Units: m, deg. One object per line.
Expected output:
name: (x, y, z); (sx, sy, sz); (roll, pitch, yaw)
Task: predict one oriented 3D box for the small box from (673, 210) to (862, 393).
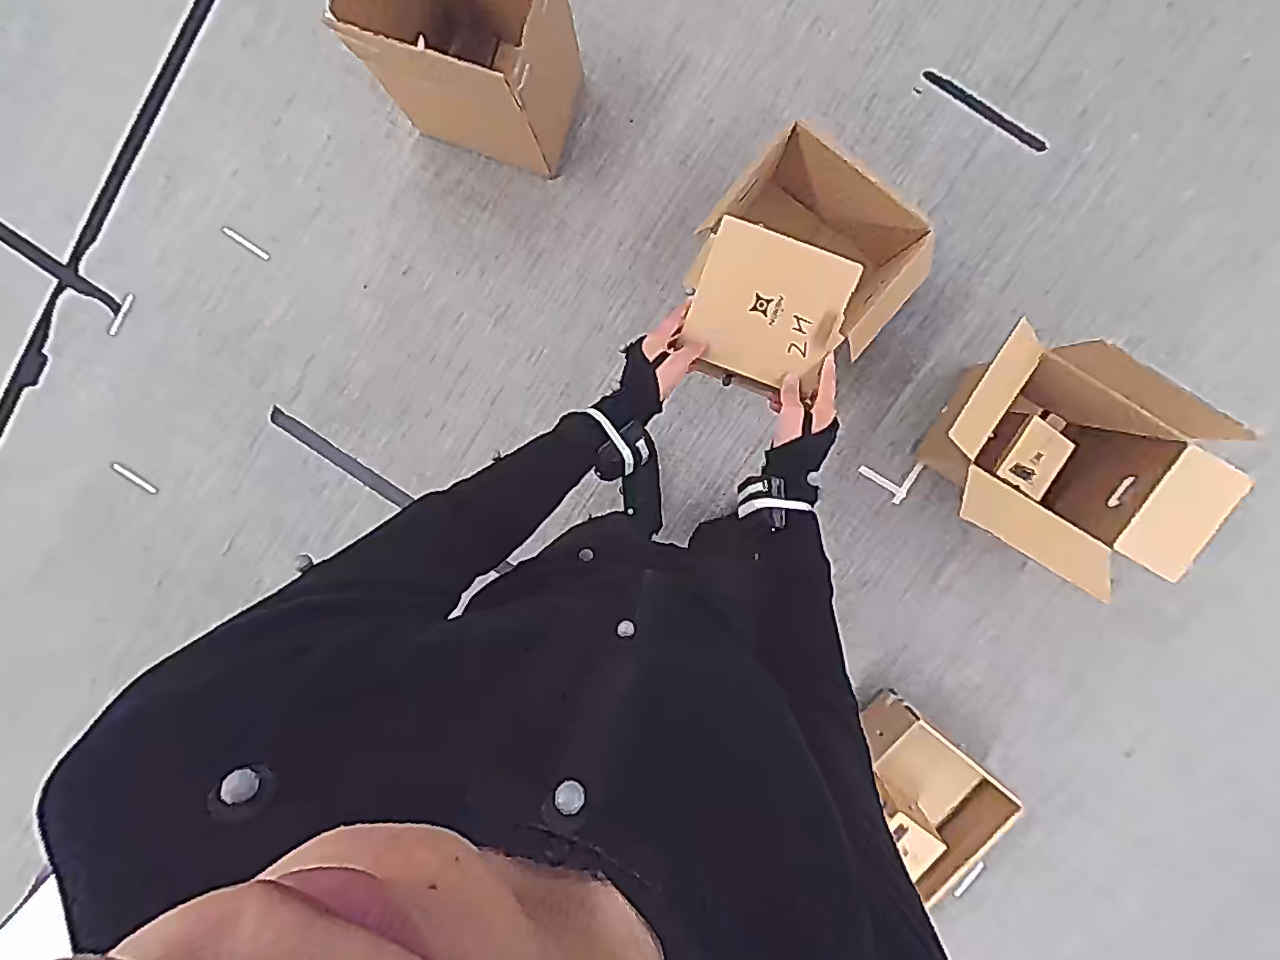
small box: (0.150, -0.216, 0.707); (0.179, 0.176, 0.168); (20, 98, 0)
